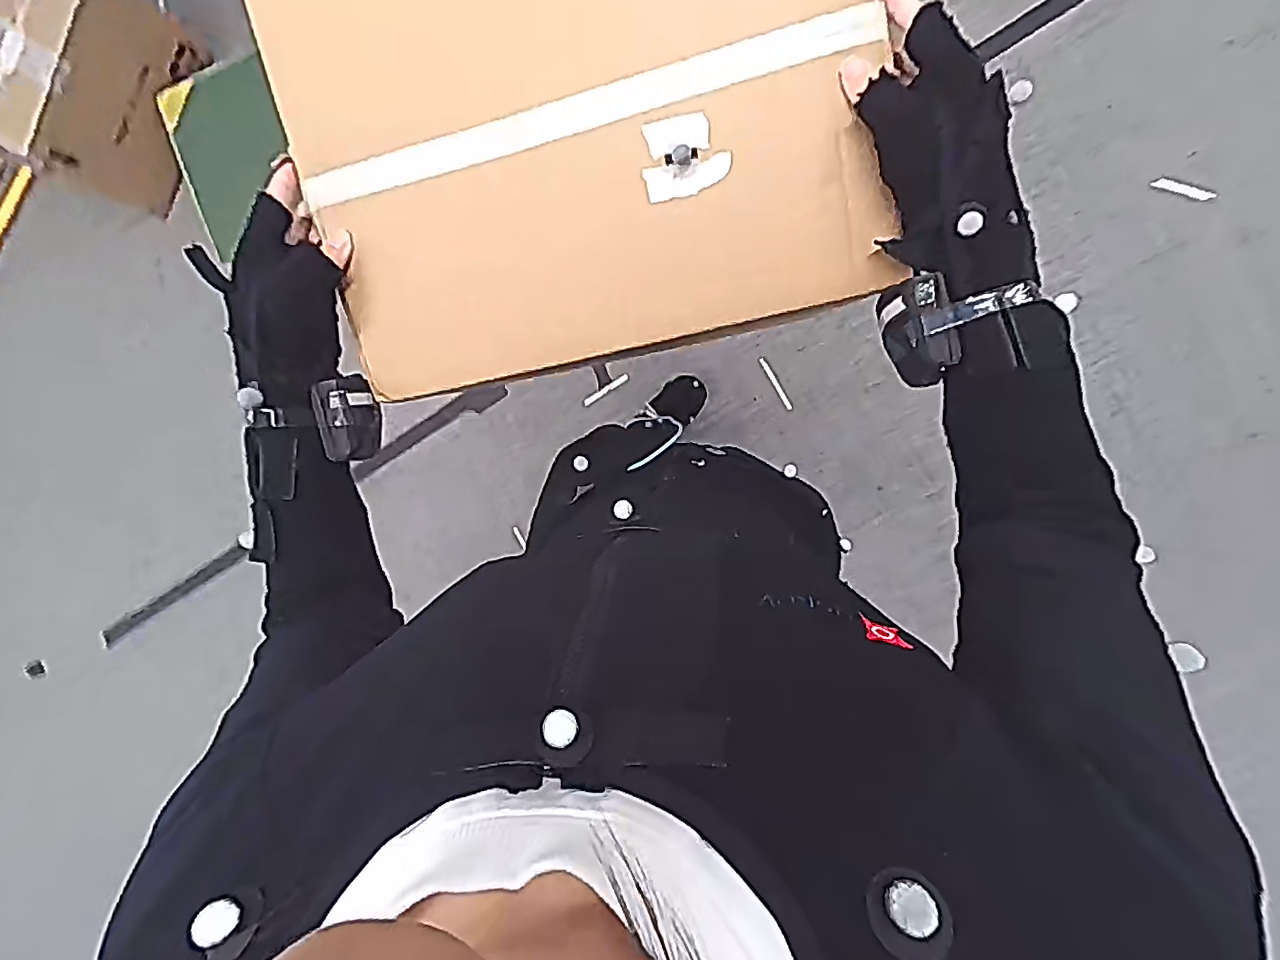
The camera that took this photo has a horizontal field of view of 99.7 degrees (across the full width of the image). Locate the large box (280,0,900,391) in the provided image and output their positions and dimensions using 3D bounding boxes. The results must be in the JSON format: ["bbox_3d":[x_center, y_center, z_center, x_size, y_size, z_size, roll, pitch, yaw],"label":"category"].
[{"bbox_3d":[-0.024,-0.286,0.528,0.408,0.320,0.320,-10,102,8],"label":"large box"}]
